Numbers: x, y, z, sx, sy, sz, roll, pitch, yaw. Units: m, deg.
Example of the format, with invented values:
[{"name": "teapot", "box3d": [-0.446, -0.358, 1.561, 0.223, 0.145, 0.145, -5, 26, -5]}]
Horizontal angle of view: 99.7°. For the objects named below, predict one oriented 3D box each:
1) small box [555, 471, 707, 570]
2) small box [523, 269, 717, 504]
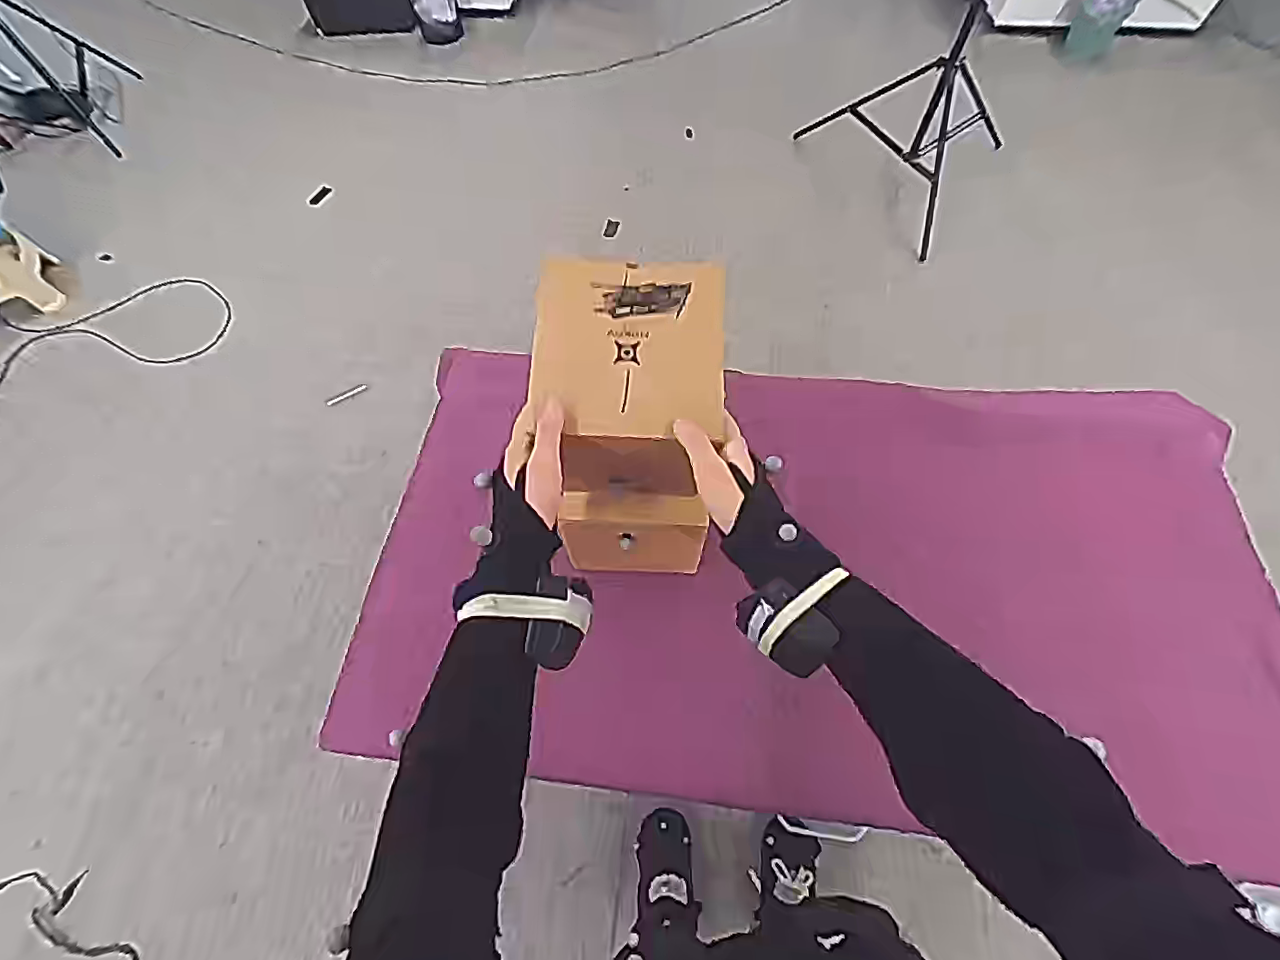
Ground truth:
[{"name": "small box", "box3d": [-0.006, 0.017, 0.725, 0.179, 0.176, 0.168, 2, 62, 3]}, {"name": "small box", "box3d": [-0.016, -0.085, 0.553, 0.168, 0.176, 0.179, 3, 72, -1]}]
